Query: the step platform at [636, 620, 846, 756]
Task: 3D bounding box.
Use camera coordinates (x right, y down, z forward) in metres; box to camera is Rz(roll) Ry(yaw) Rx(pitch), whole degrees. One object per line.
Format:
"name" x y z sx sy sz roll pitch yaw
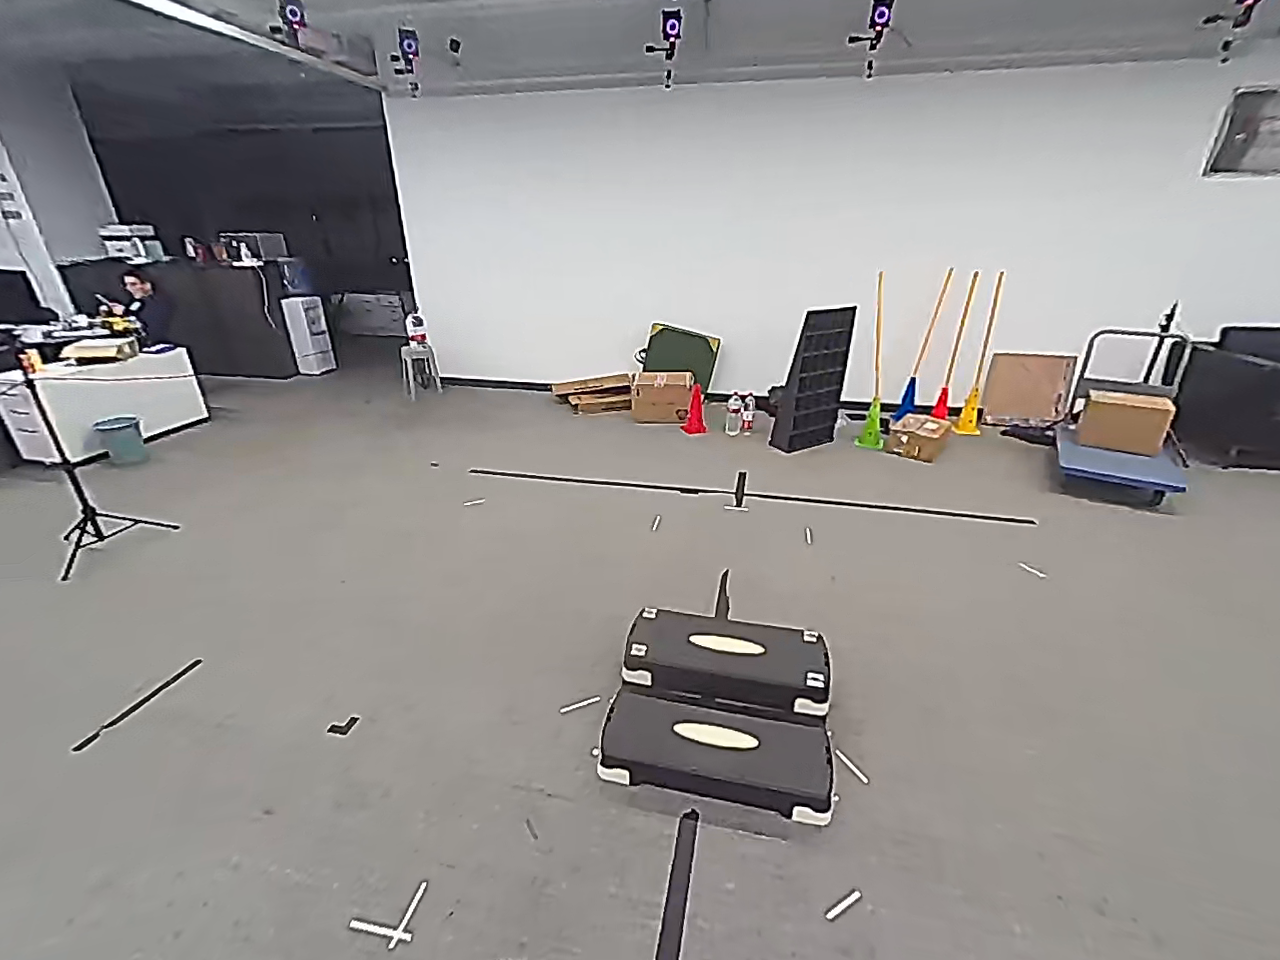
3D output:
"step platform" 0.336 0.682 1.831 0.684 0.204 0.286 7 25 16
